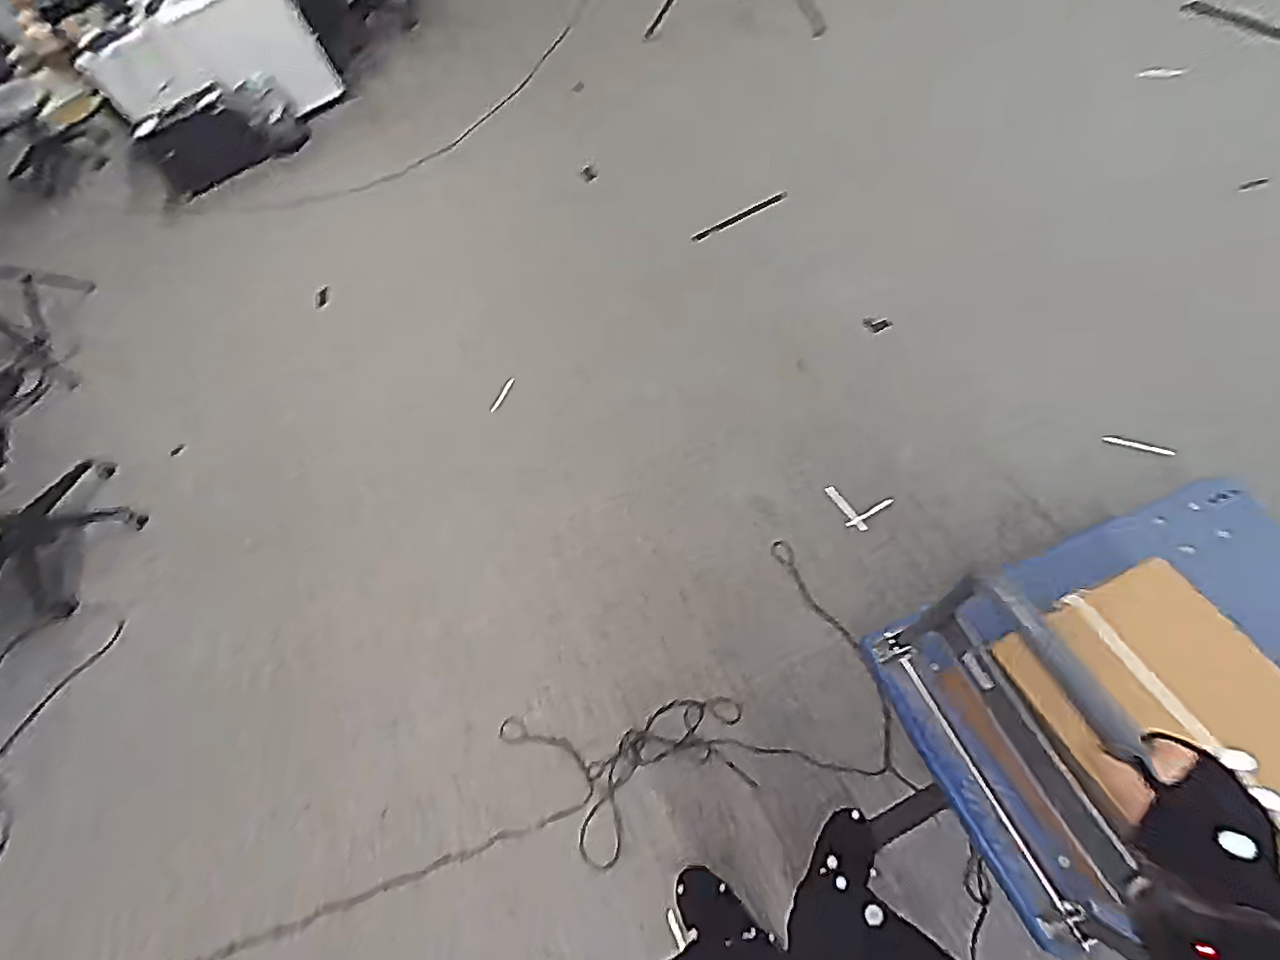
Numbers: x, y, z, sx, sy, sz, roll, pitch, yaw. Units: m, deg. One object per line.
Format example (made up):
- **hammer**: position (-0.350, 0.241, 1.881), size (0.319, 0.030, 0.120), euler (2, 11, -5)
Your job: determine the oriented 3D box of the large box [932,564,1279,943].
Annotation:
- **large box**: position (0.786, 0.418, 0.897), size (0.320, 0.320, 0.408), euler (-28, 61, -3)
